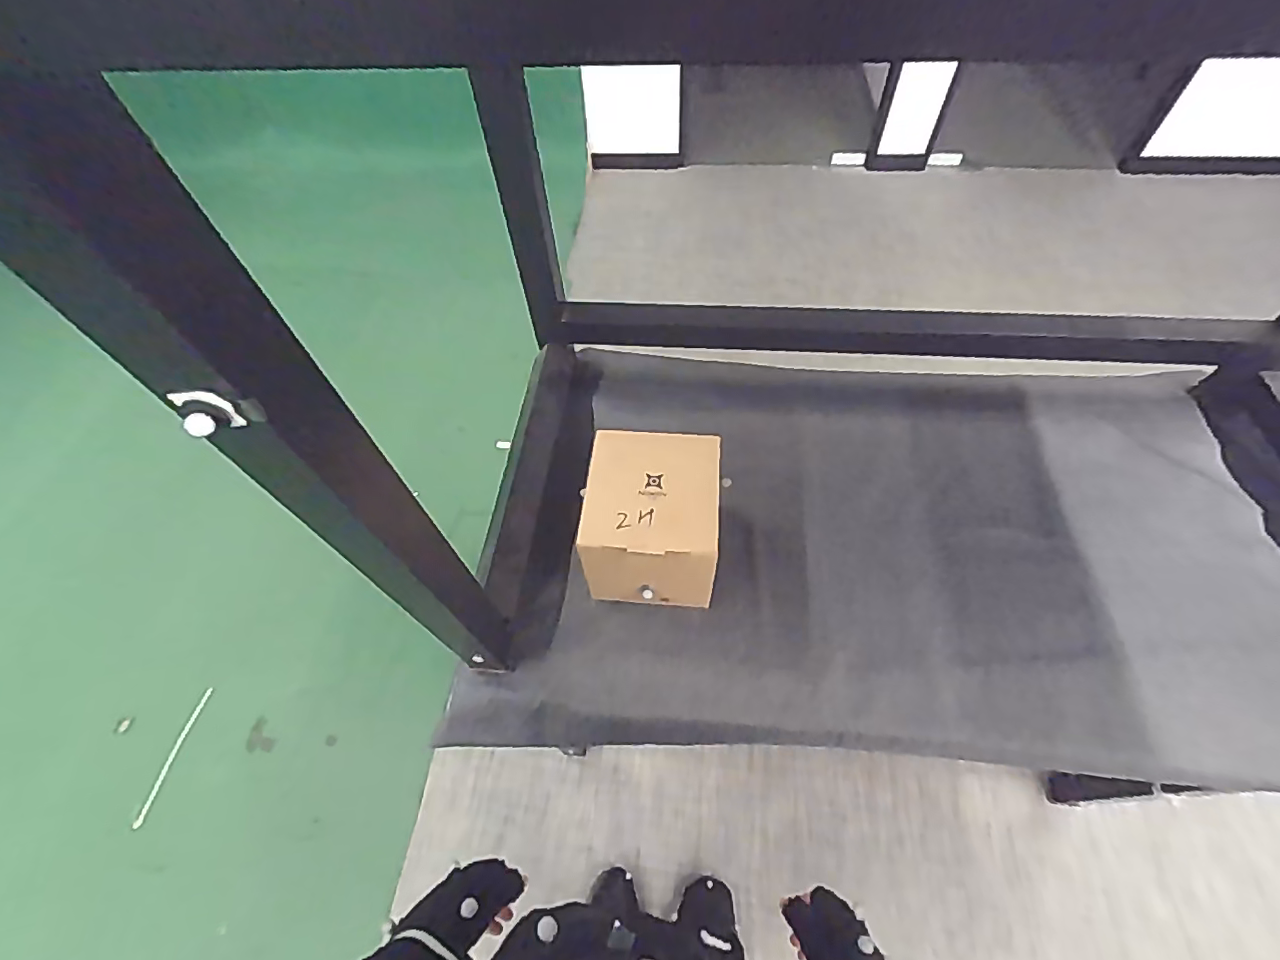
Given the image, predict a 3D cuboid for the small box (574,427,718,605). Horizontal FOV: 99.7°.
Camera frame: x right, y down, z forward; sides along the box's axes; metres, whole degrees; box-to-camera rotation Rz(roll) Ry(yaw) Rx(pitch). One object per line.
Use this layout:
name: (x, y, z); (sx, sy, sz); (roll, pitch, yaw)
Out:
small box: (0.015, 0.051, 0.734); (0.168, 0.176, 0.179); (3, 56, 6)
